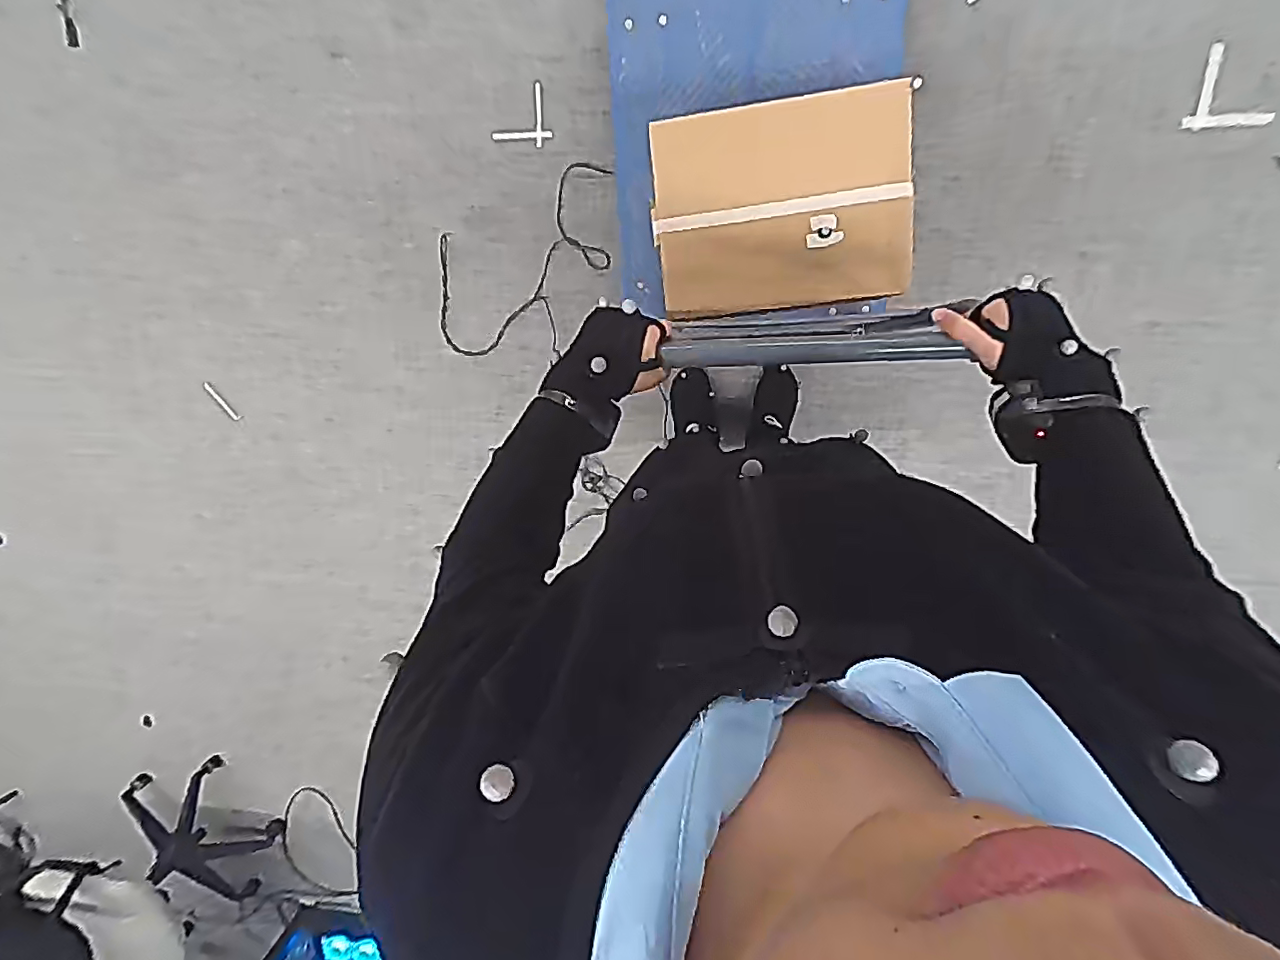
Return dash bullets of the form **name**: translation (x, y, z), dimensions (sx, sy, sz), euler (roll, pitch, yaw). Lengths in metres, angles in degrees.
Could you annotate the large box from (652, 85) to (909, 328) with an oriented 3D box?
- **large box**: translation (0.247, -0.477, 1.032), dimensions (0.408, 0.320, 0.320), euler (-5, 105, 7)
